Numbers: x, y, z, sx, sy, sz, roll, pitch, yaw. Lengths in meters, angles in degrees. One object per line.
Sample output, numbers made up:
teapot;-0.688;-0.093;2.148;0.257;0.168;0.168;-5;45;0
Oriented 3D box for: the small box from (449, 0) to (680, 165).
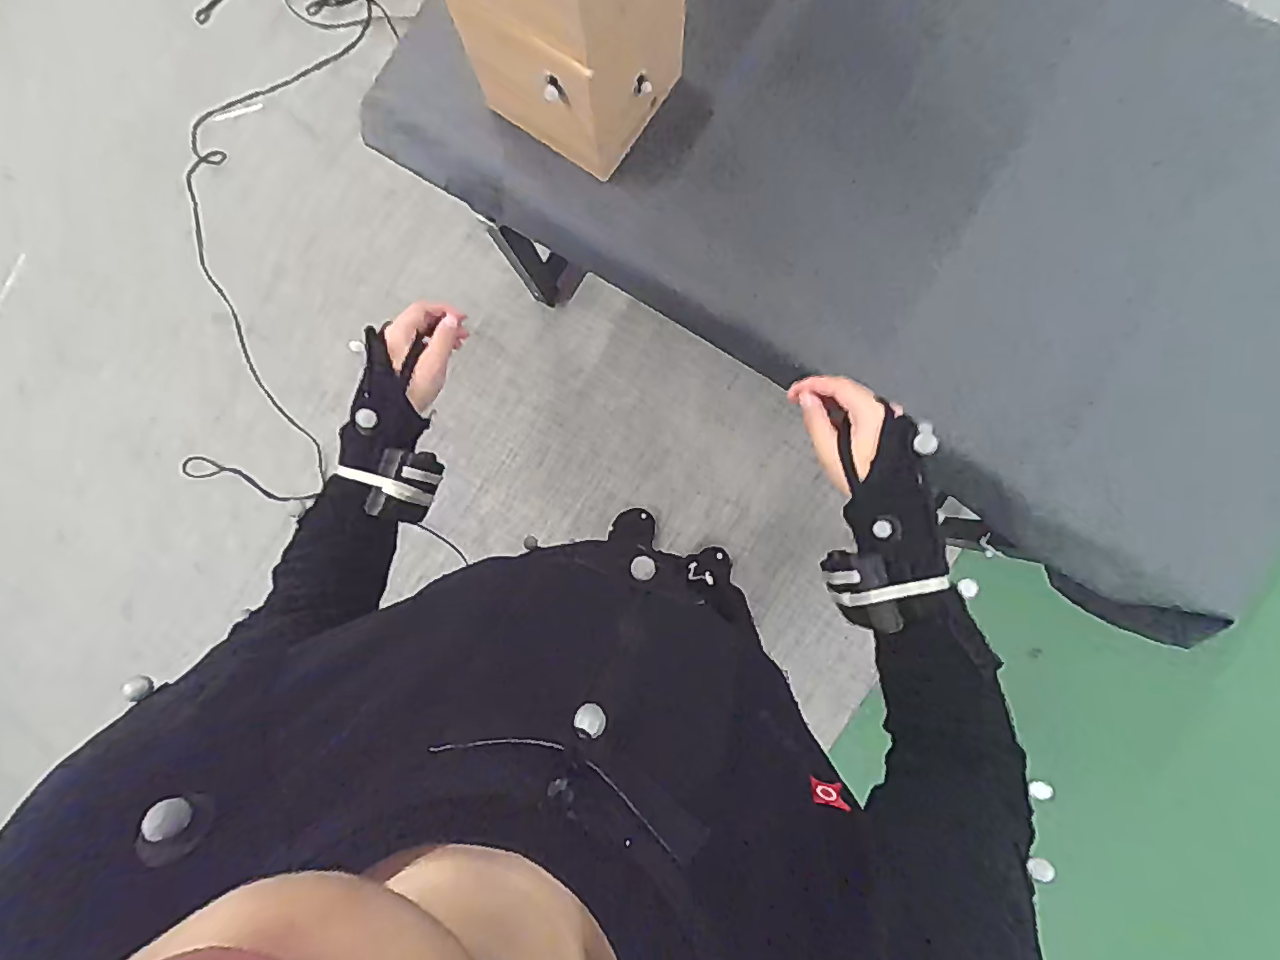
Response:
small box;-0.067;-0.479;0.576;0.179;0.176;0.168;34;89;2
